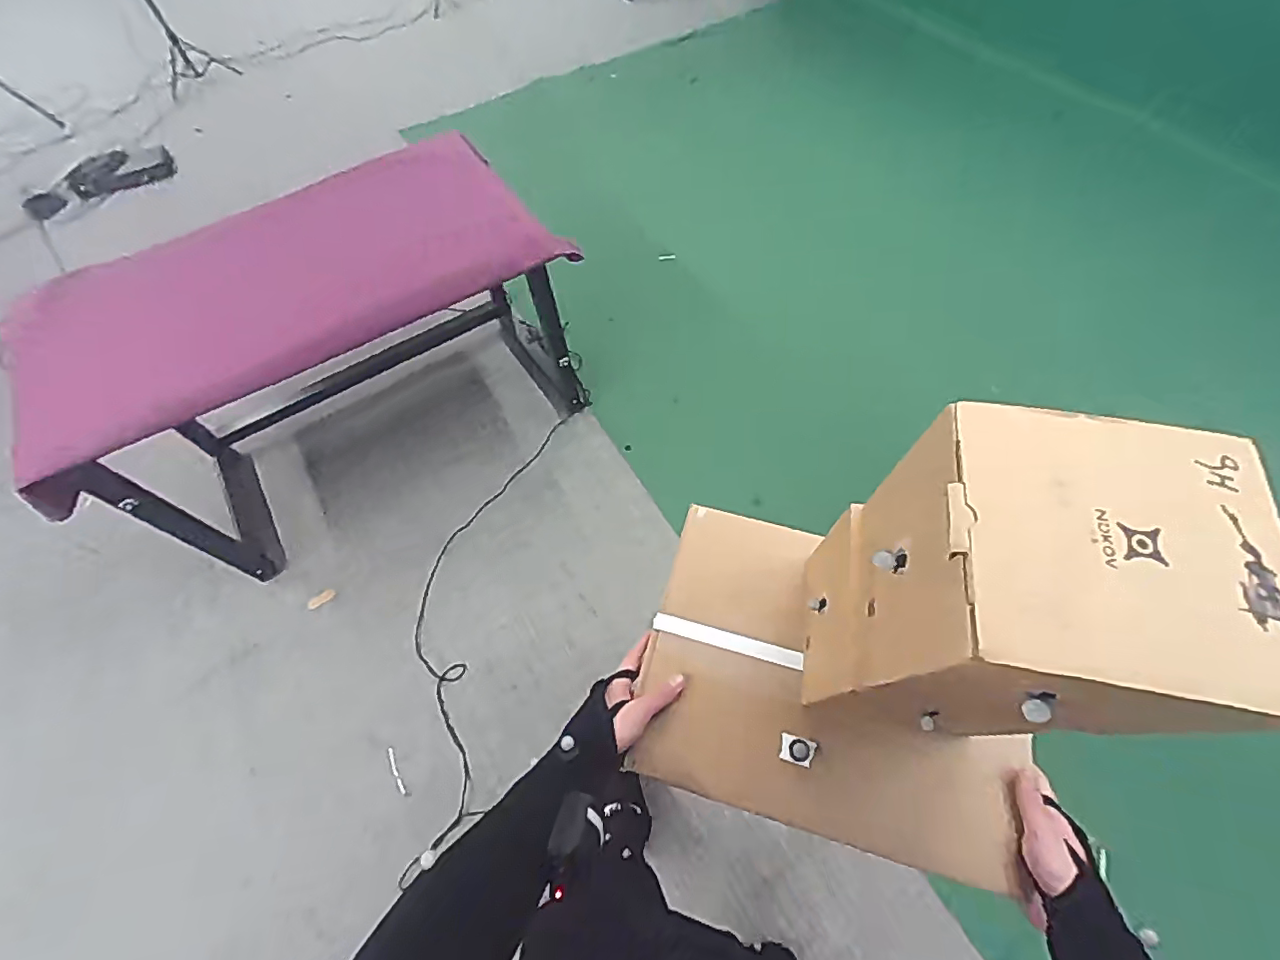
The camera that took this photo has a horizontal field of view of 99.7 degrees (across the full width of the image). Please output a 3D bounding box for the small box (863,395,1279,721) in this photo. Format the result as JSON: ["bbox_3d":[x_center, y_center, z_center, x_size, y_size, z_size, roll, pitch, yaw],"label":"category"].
[{"bbox_3d":[0.267,0.064,0.378,0.179,0.176,0.168,8,64,7],"label":"small box"}]

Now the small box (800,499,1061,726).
[{"bbox_3d":[0.261,0.136,0.525,0.179,0.176,0.168,8,64,6],"label":"small box"}]
